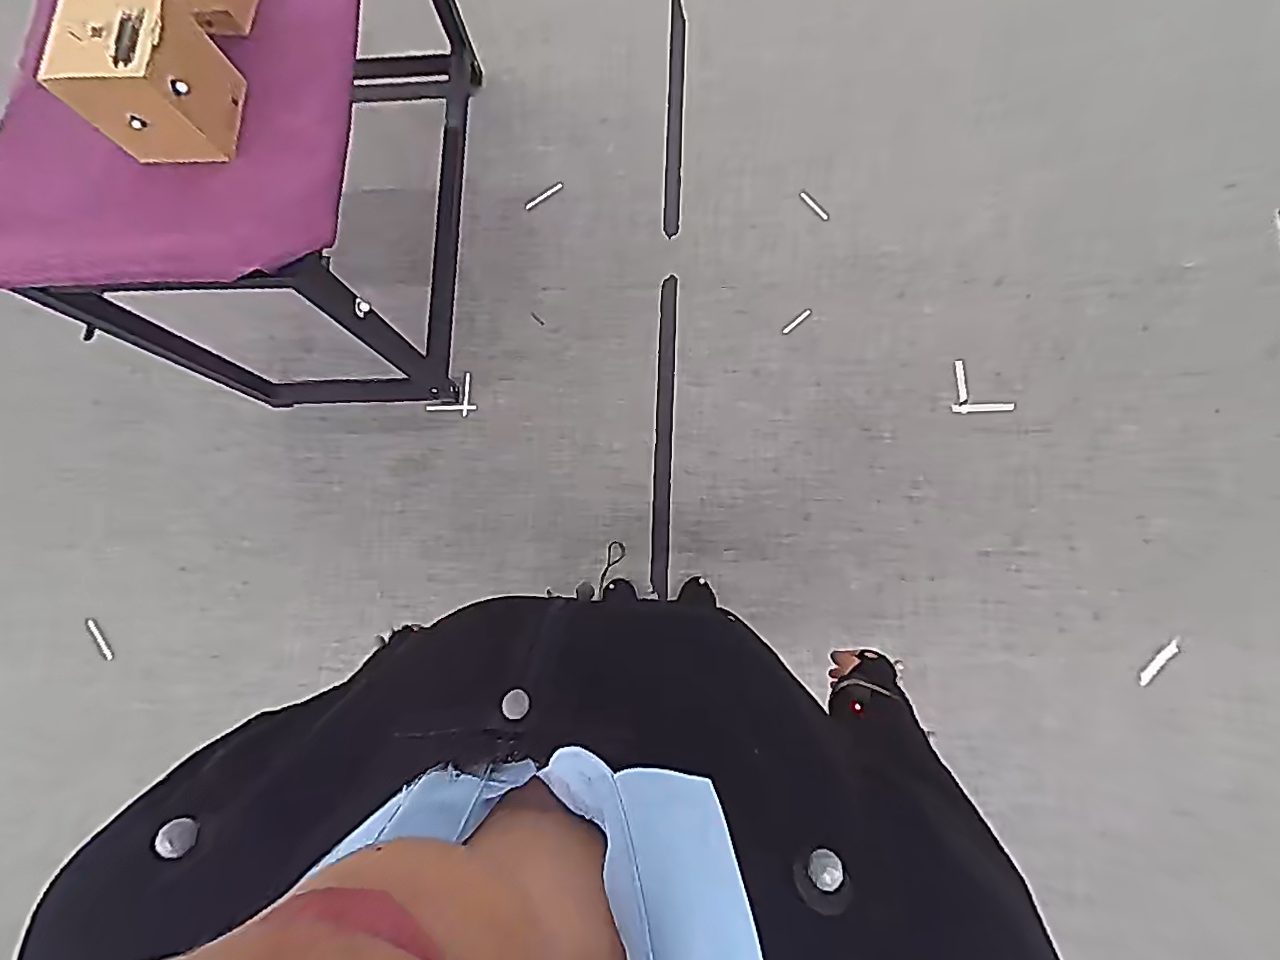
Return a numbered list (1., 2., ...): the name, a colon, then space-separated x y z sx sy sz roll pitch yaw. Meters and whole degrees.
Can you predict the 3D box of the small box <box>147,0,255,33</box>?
1. small box: -0.798 -0.933 0.944 0.168 0.176 0.179 8 80 4
